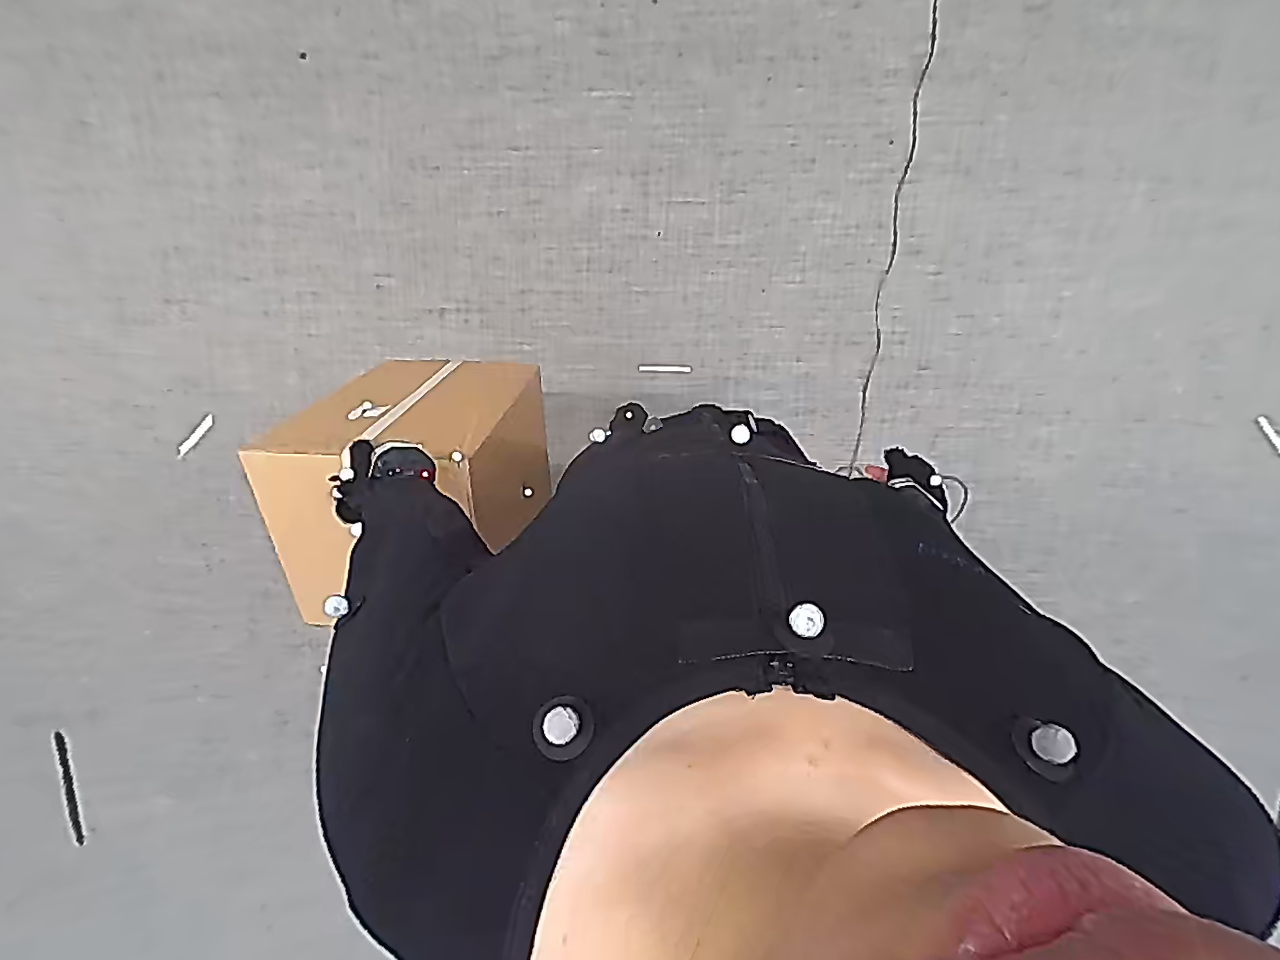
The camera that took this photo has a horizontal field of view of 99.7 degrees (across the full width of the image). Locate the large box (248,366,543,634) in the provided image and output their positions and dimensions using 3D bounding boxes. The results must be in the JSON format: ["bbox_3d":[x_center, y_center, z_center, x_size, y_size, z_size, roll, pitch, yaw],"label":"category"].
[{"bbox_3d":[-0.368,0.012,0.959,0.320,0.408,0.320,1,120,3],"label":"large box"}]
